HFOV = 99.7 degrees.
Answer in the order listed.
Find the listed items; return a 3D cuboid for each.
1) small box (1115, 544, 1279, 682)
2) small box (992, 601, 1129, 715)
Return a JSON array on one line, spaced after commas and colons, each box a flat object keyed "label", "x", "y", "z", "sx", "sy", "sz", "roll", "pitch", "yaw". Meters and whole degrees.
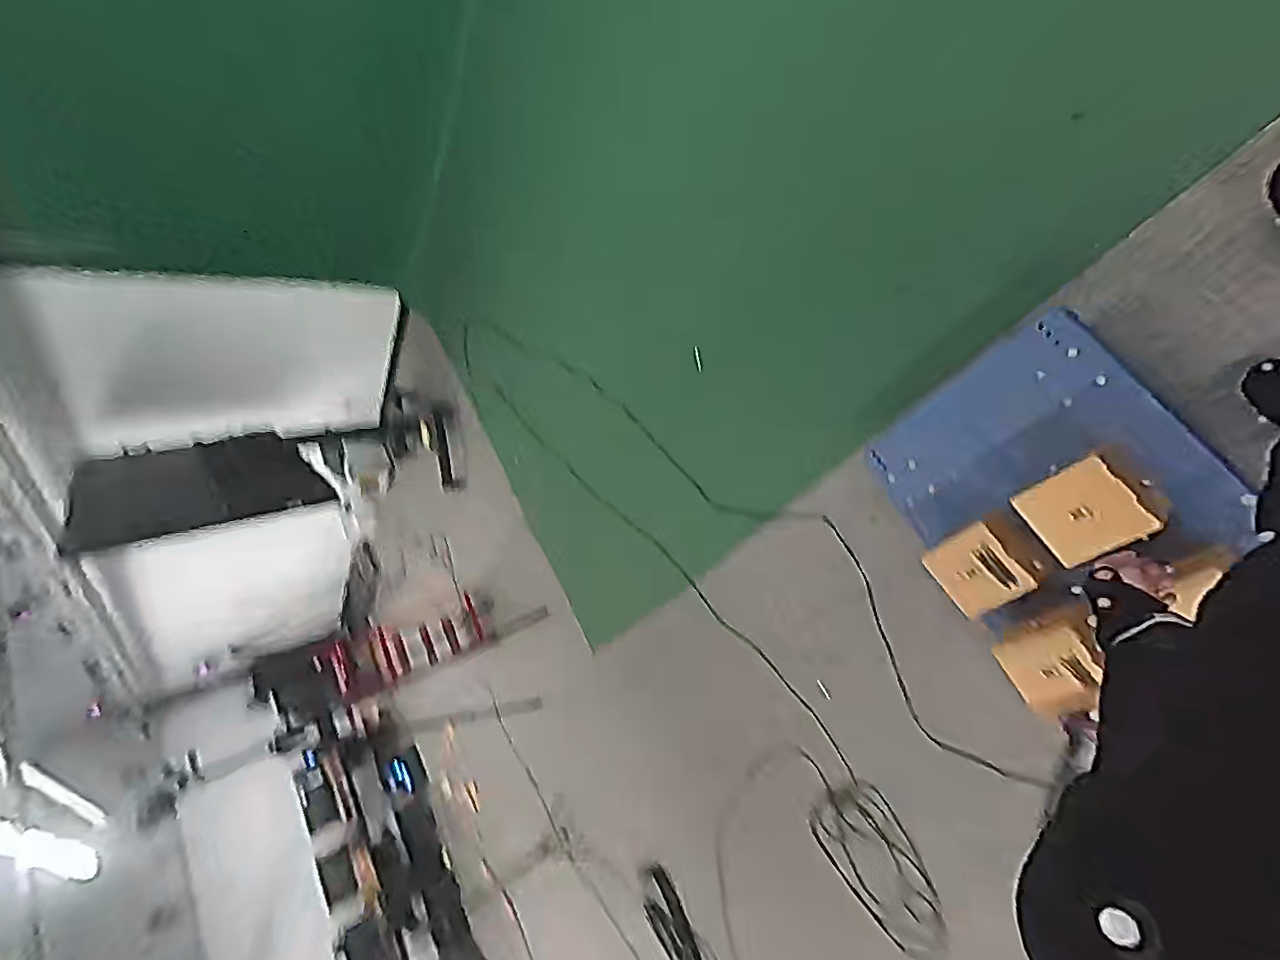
[{"label": "small box", "x": 1.059, "y": 0.244, "z": 1.020, "sx": 0.168, "sy": 0.176, "sz": 0.179, "roll": 57, "pitch": 136, "yaw": 20}, {"label": "small box", "x": 0.937, "y": 0.391, "z": 1.202, "sx": 0.179, "sy": 0.176, "sz": 0.168, "roll": -47, "pitch": 65, "yaw": 45}]
